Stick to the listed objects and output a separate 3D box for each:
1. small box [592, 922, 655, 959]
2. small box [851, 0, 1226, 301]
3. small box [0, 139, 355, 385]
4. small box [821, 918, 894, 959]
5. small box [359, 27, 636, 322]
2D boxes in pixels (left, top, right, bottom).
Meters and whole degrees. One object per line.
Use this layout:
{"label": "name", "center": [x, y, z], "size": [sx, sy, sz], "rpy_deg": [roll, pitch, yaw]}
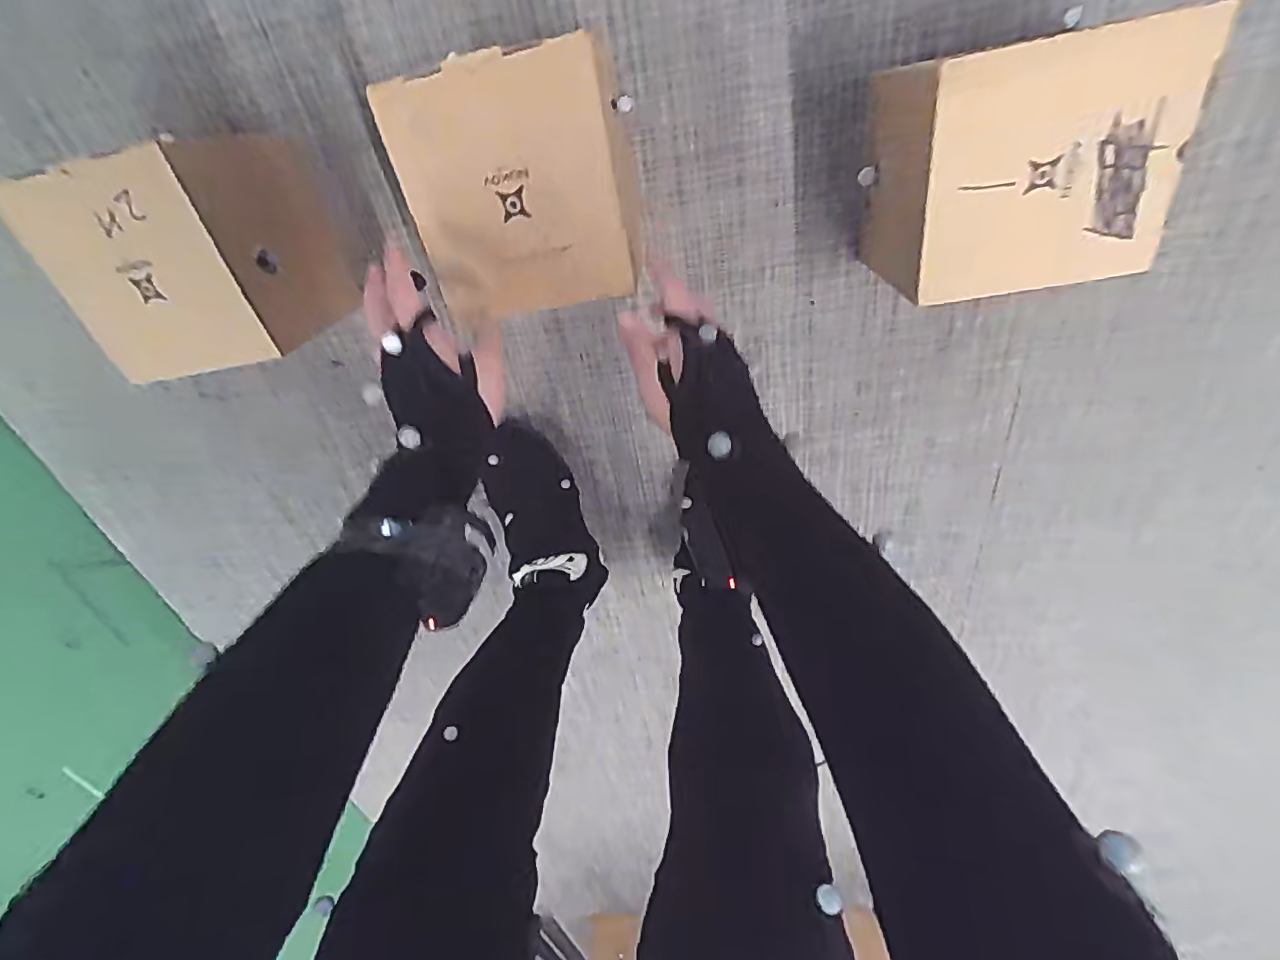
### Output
{"label": "small box", "center": [-0.049, 1.451, 1.614], "size": [0.179, 0.176, 0.168], "rpy_deg": [-5, 123, 7]}
{"label": "small box", "center": [0.291, -0.266, 0.449], "size": [0.179, 0.176, 0.168], "rpy_deg": [-7, 122, 9]}
{"label": "small box", "center": [-0.422, -0.216, 0.530], "size": [0.168, 0.176, 0.179], "rpy_deg": [-8, 122, 9]}
{"label": "small box", "center": [0.612, 1.350, 1.506], "size": [0.179, 0.176, 0.168], "rpy_deg": [-8, 123, 9]}
{"label": "small box", "center": [-0.101, -0.262, 0.481], "size": [0.168, 0.176, 0.179], "rpy_deg": [-7, 123, 9]}
